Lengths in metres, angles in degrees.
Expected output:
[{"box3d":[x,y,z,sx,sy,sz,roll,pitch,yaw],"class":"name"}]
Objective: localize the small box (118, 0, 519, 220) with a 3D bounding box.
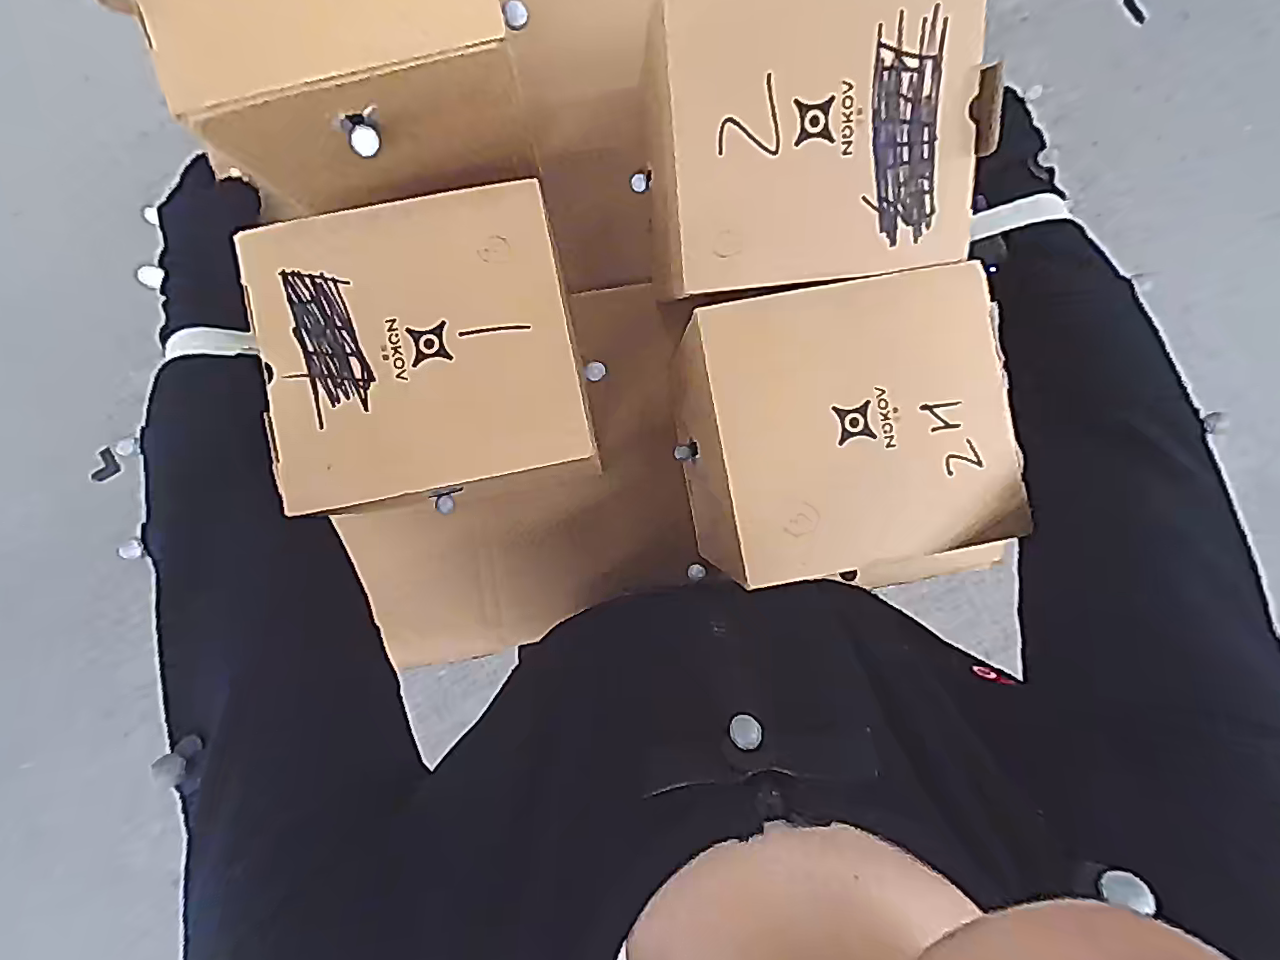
[{"box3d":[-0.185,-0.293,0.344,0.179,0.176,0.168,-15,98,-1],"class":"small box"}]
